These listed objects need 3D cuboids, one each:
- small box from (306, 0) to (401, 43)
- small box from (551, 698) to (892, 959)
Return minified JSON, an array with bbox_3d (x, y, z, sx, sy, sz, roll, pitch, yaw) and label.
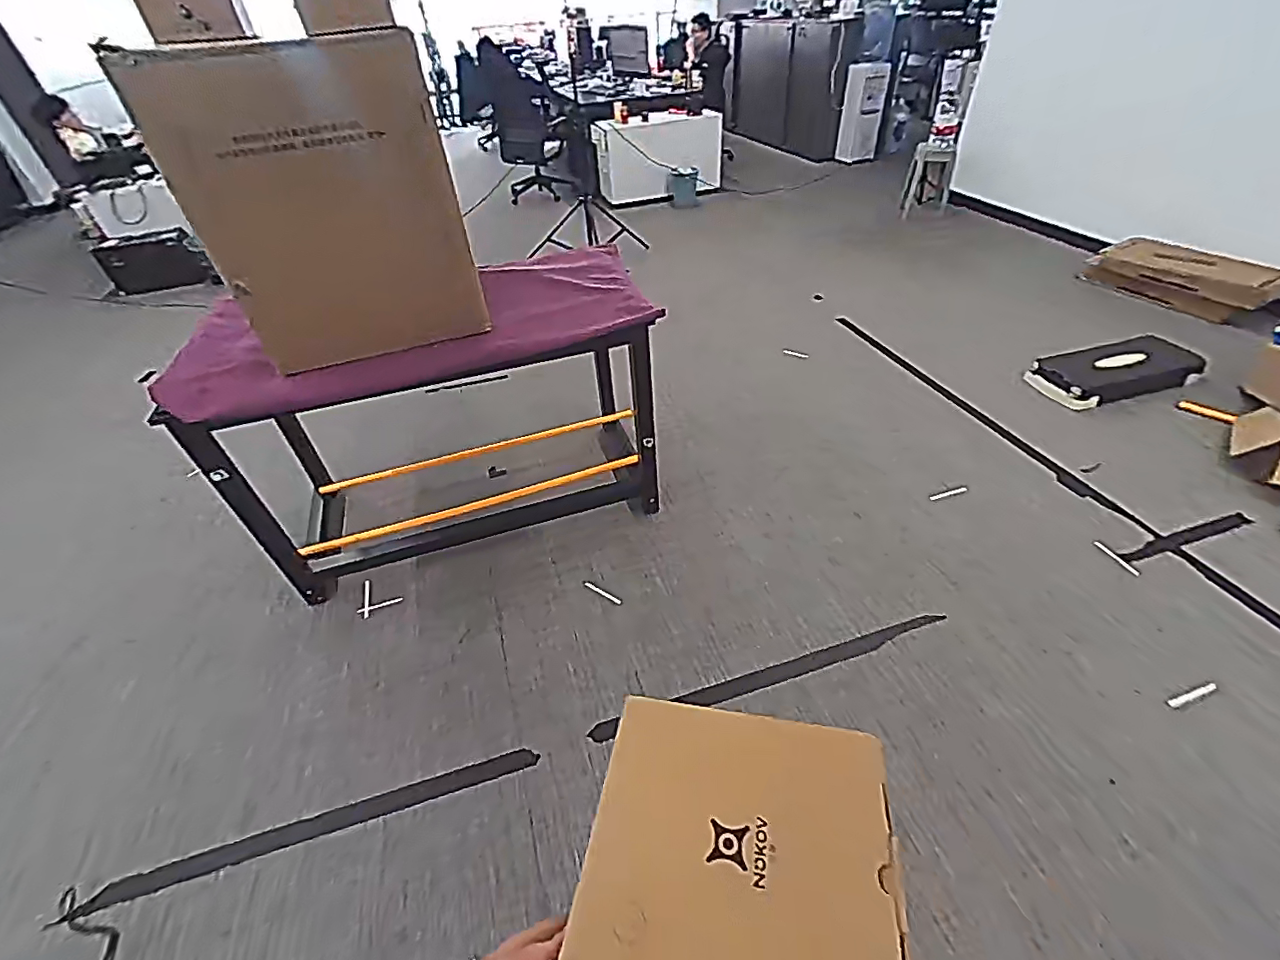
[{"bbox_3d":[-0.629,-1.055,1.164,0.168,0.176,0.179,-15,43,-10],"label":"small box"},{"bbox_3d":[0.063,0.280,0.370,0.179,0.176,0.168,3,38,14],"label":"small box"}]
